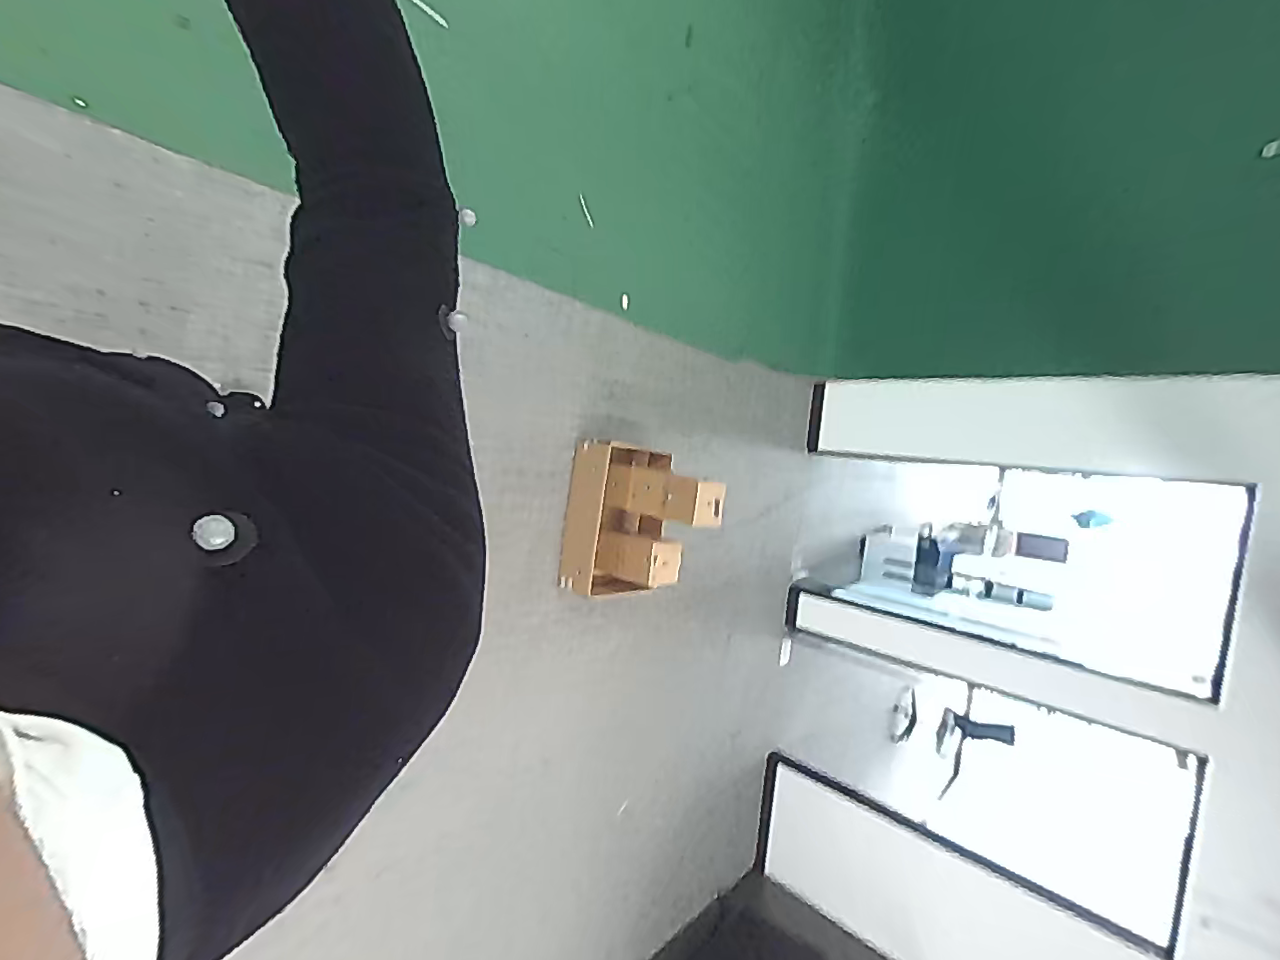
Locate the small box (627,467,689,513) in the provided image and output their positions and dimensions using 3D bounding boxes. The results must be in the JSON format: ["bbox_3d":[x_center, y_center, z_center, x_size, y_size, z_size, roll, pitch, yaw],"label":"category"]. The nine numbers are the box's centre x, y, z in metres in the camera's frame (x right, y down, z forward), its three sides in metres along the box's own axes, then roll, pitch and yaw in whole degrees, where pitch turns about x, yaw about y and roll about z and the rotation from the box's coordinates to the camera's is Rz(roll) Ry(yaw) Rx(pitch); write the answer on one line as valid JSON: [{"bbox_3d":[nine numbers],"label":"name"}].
[{"bbox_3d":[0.067,0.040,2.119,0.179,0.176,0.168,3,95,-48],"label":"small box"}]

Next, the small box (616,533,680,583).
[{"bbox_3d":[0.032,0.302,2.126,0.179,0.176,0.168,5,91,-48],"label":"small box"}]

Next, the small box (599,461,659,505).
[{"bbox_3d":[-0.049,0.016,2.228,0.179,0.176,0.168,5,94,-48],"label":"small box"}]

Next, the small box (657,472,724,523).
[{"bbox_3d":[0.187,0.065,2.009,0.179,0.176,0.168,4,94,-47],"label":"small box"}]
